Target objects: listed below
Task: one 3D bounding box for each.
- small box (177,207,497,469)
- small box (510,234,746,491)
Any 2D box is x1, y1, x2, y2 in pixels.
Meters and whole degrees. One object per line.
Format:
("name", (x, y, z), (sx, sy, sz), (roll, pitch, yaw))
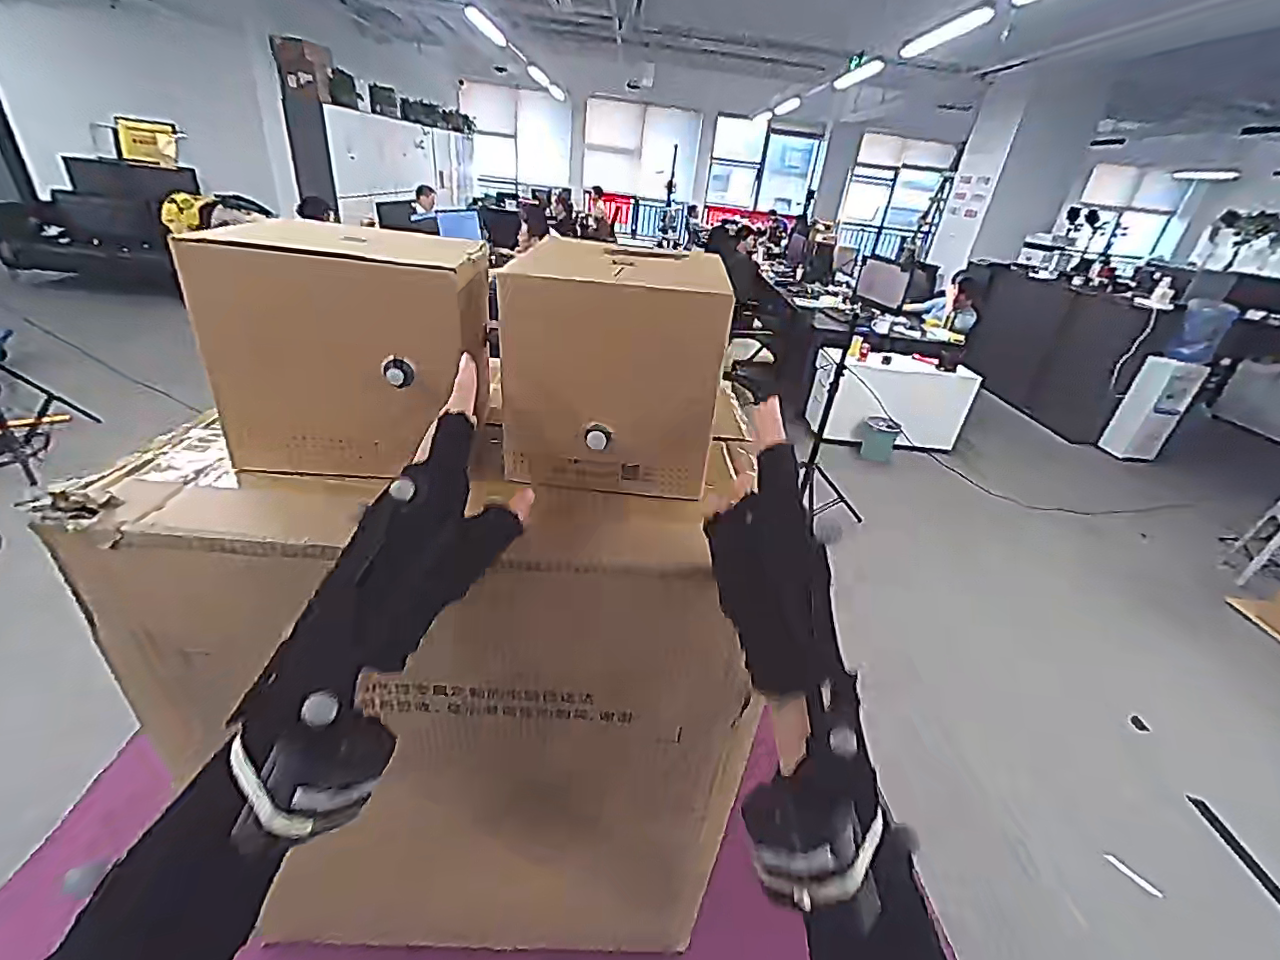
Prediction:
("small box", (-0.217, -0.119, 0.450), (0.179, 0.176, 0.168), (2, 28, -9))
("small box", (-0.010, -0.110, 0.475), (0.168, 0.176, 0.179), (6, 29, 1))
